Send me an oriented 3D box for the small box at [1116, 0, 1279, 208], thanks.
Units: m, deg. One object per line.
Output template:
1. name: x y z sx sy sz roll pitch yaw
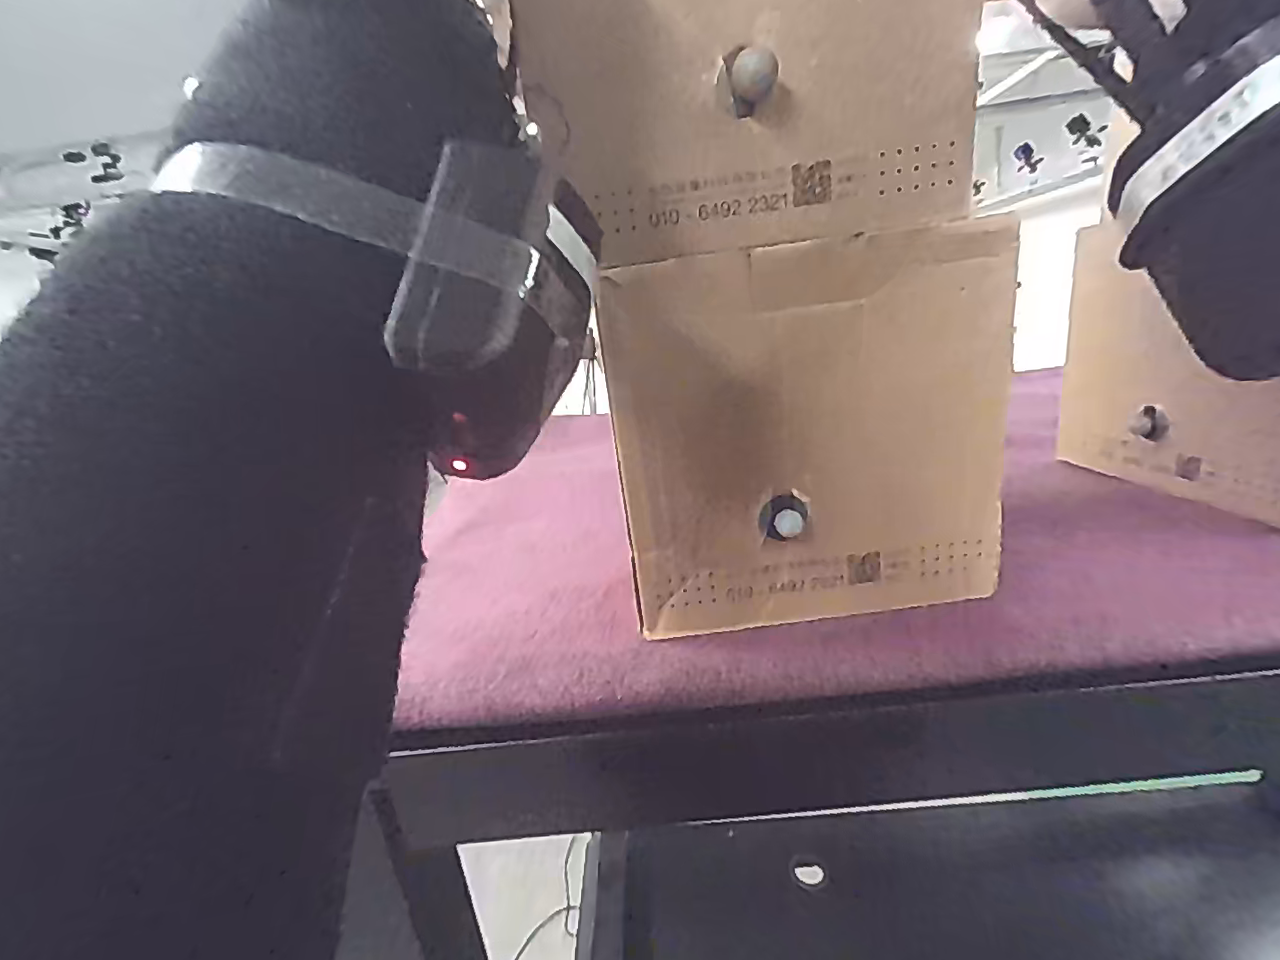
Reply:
1. small box: 0.379 -0.242 0.258 0.168 0.176 0.179 -6 17 7

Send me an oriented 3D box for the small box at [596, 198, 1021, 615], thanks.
1. small box: 0.069 -0.045 0.308 0.168 0.176 0.179 -7 18 0

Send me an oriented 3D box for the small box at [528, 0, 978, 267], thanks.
1. small box: 0.040 -0.203 0.270 0.168 0.176 0.179 -7 18 3
